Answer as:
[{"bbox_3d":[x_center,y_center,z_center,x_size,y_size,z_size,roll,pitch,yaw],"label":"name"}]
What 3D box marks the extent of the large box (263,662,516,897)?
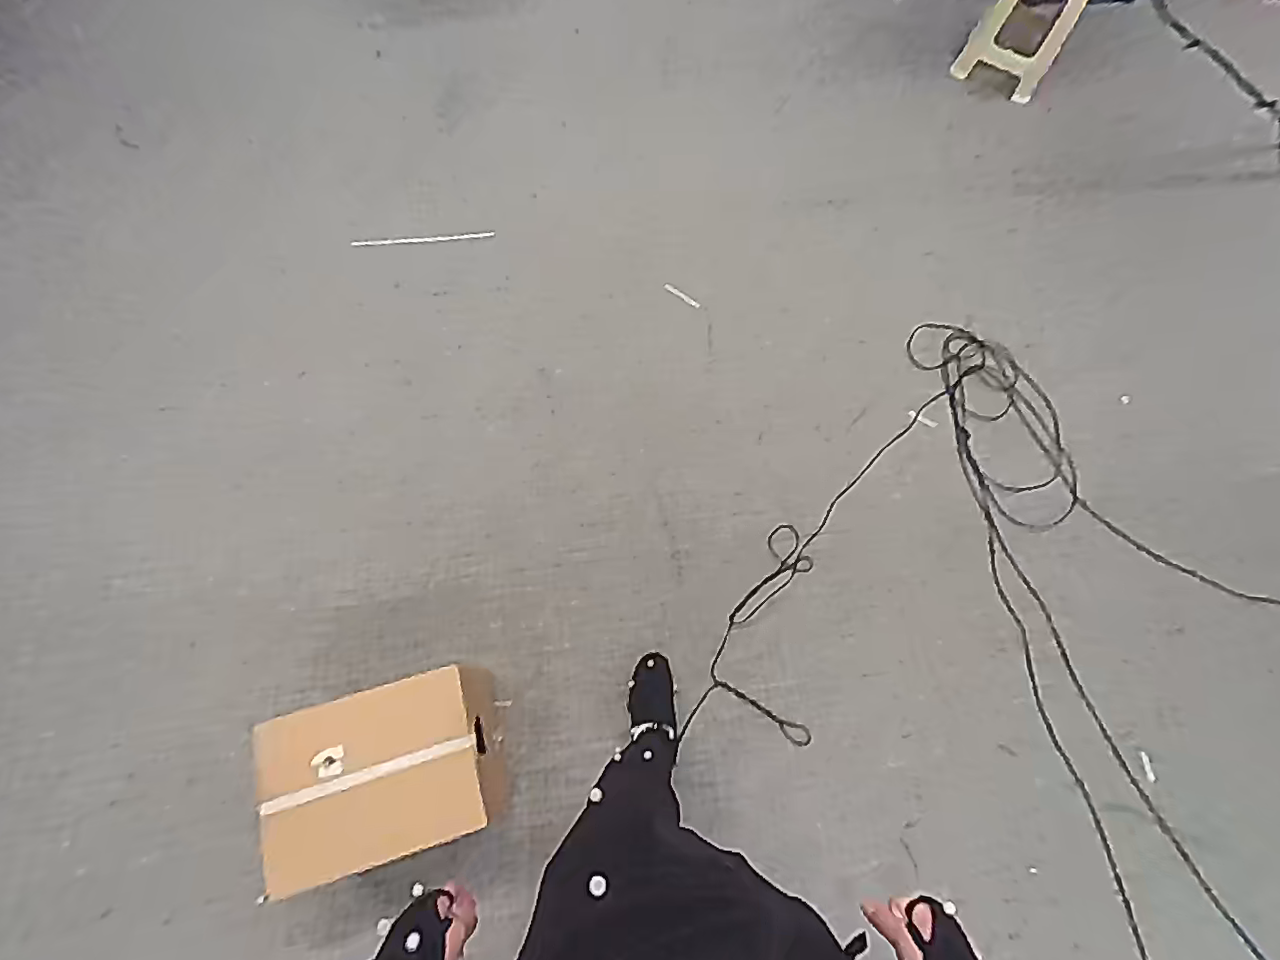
[{"bbox_3d":[-0.529,0.624,1.207,0.408,0.320,0.320,-15,71,-8],"label":"large box"}]
